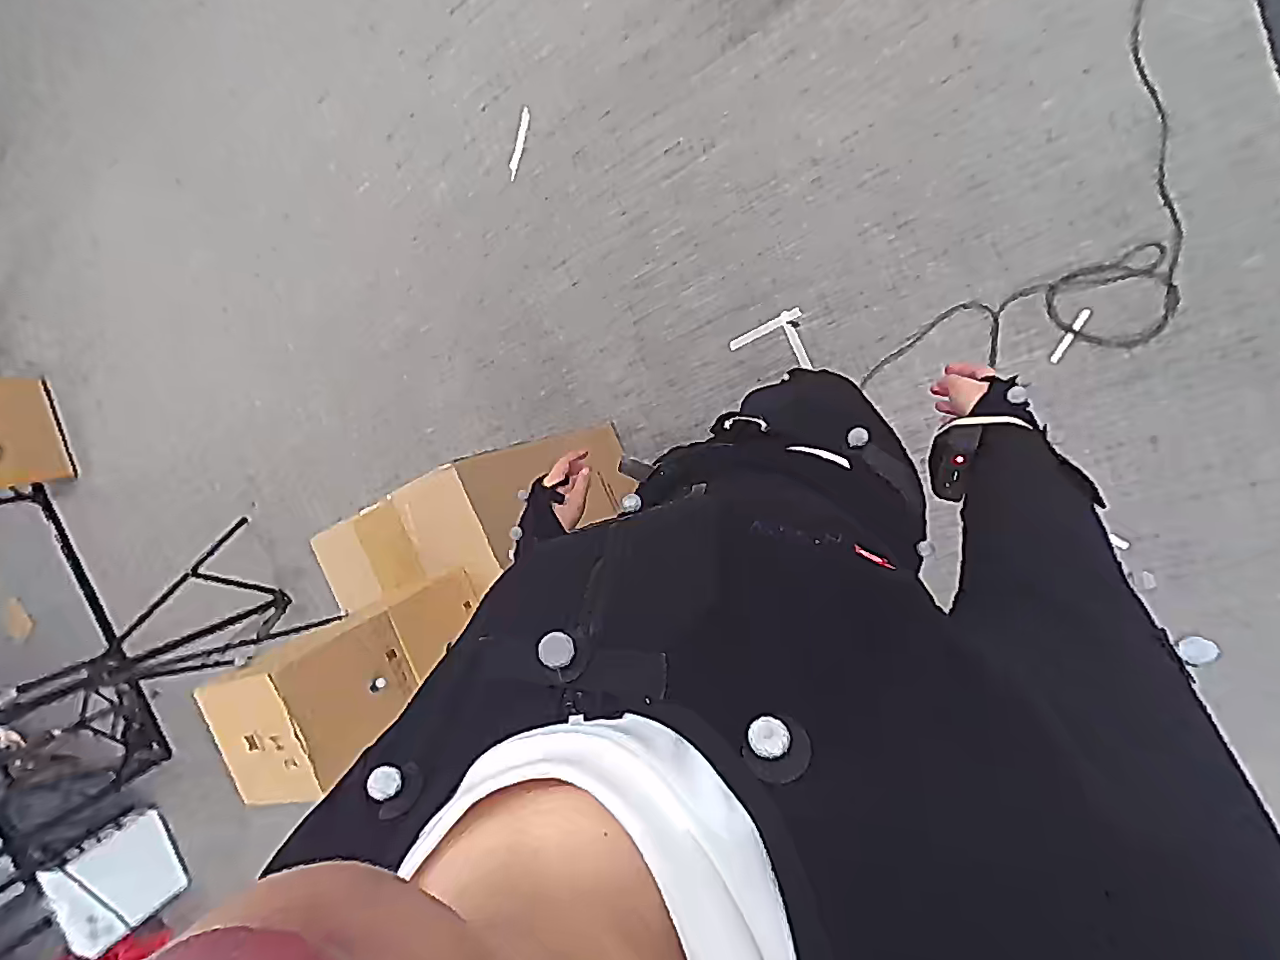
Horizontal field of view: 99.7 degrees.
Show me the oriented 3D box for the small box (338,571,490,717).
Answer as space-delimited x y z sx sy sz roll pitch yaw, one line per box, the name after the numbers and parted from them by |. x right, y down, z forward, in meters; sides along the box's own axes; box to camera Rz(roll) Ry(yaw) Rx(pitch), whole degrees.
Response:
-0.365 0.263 0.861 0.179 0.176 0.168 -21 94 24 | small box

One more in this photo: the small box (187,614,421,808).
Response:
-0.431 0.297 0.713 0.179 0.176 0.168 -18 96 24 | small box
